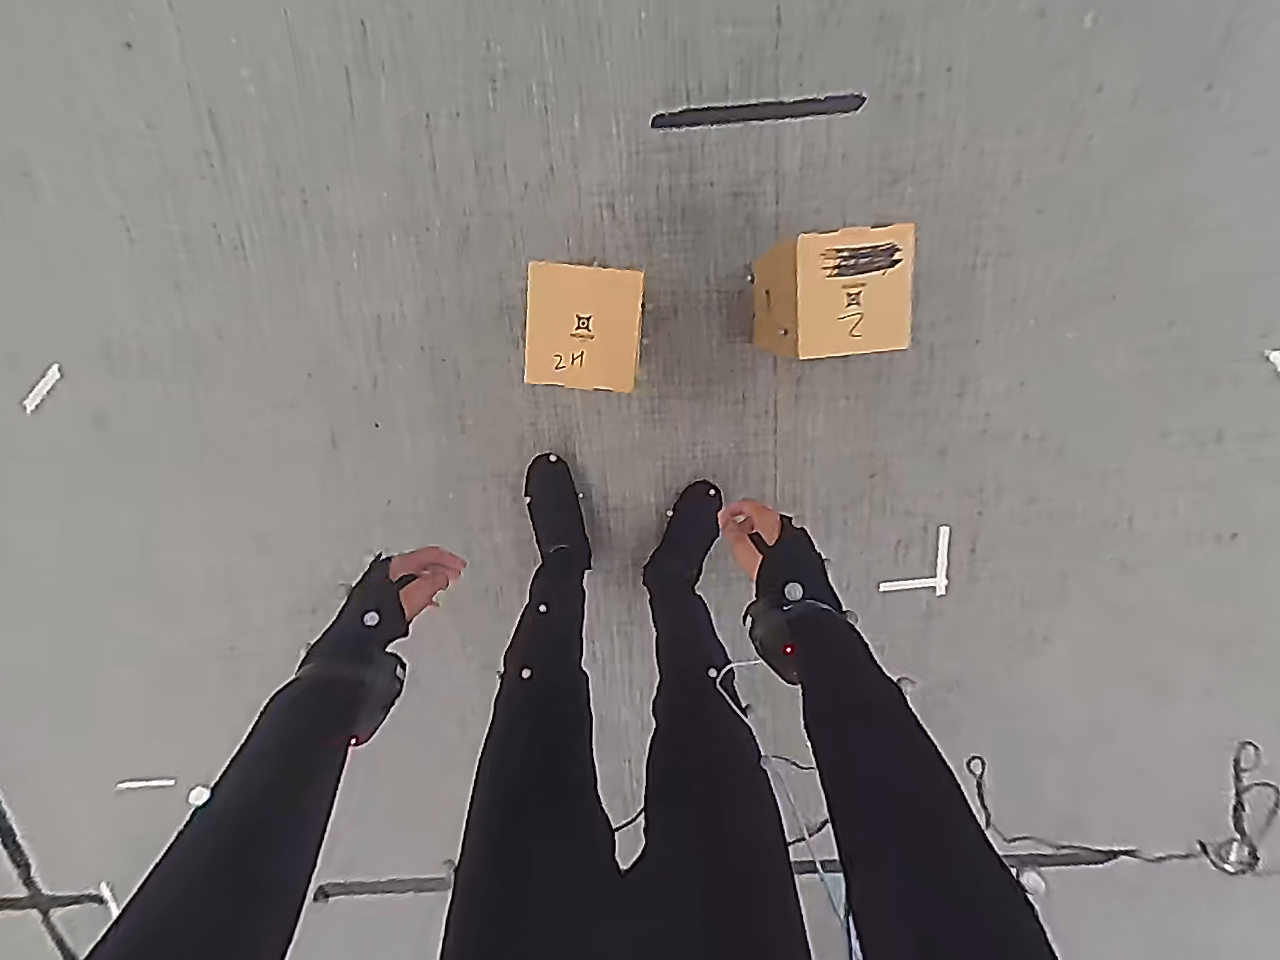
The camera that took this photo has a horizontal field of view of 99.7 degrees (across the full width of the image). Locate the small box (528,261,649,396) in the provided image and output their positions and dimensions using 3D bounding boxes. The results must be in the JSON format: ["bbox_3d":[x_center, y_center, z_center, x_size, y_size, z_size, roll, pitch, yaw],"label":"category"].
[{"bbox_3d":[-0.077,-0.240,0.866,0.168,0.176,0.179,6,107,-1],"label":"small box"}]

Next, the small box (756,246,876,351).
[{"bbox_3d":[0.316,-0.333,1.009,0.179,0.176,0.168,-5,107,0],"label":"small box"}]
